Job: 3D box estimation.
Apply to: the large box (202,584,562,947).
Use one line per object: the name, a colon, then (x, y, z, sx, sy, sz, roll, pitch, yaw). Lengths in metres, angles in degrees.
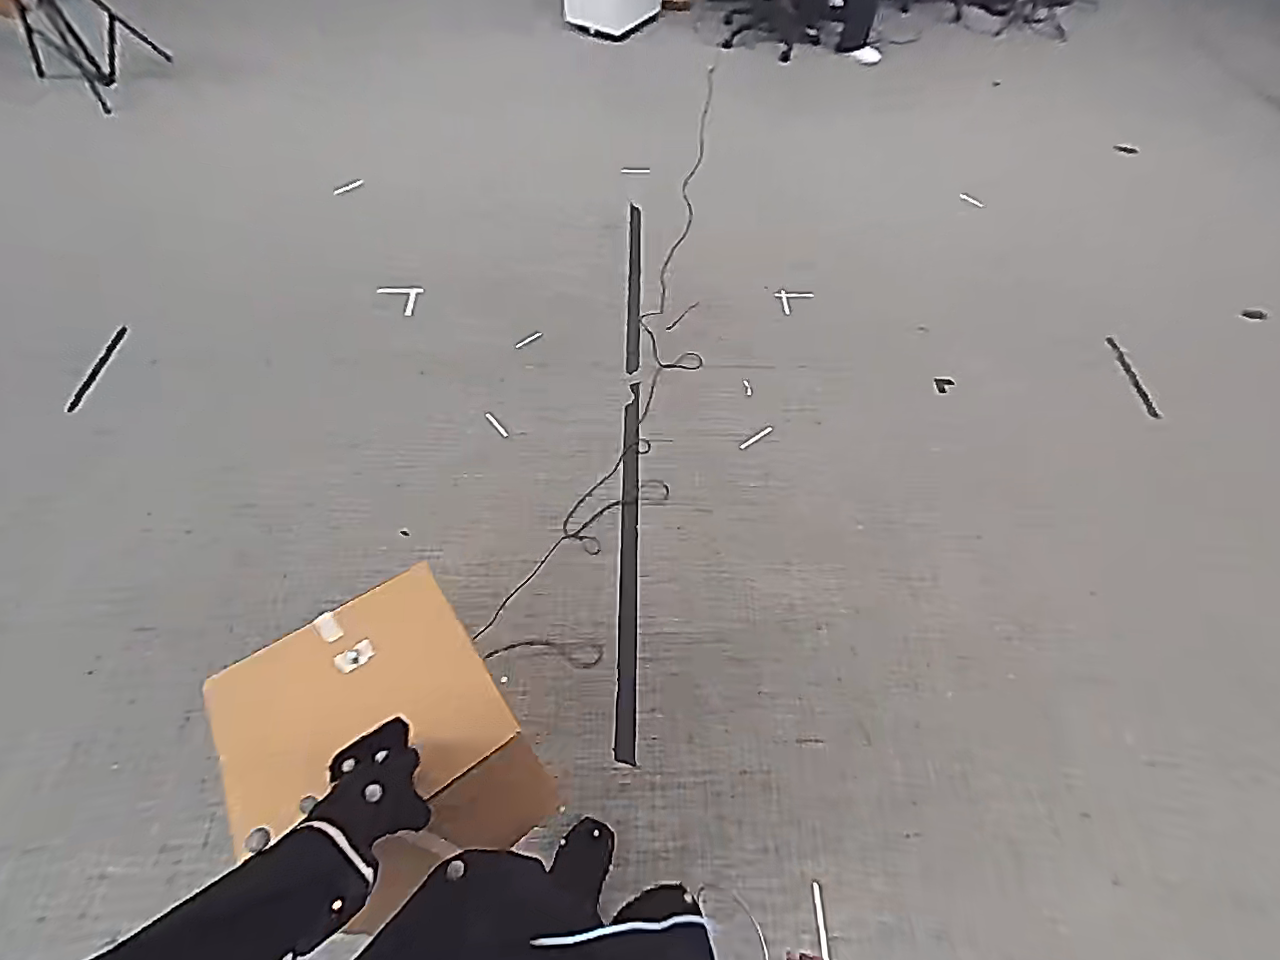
large box: (-0.358, 0.435, 0.831, 0.320, 0.408, 0.320, -31, 55, -22)
